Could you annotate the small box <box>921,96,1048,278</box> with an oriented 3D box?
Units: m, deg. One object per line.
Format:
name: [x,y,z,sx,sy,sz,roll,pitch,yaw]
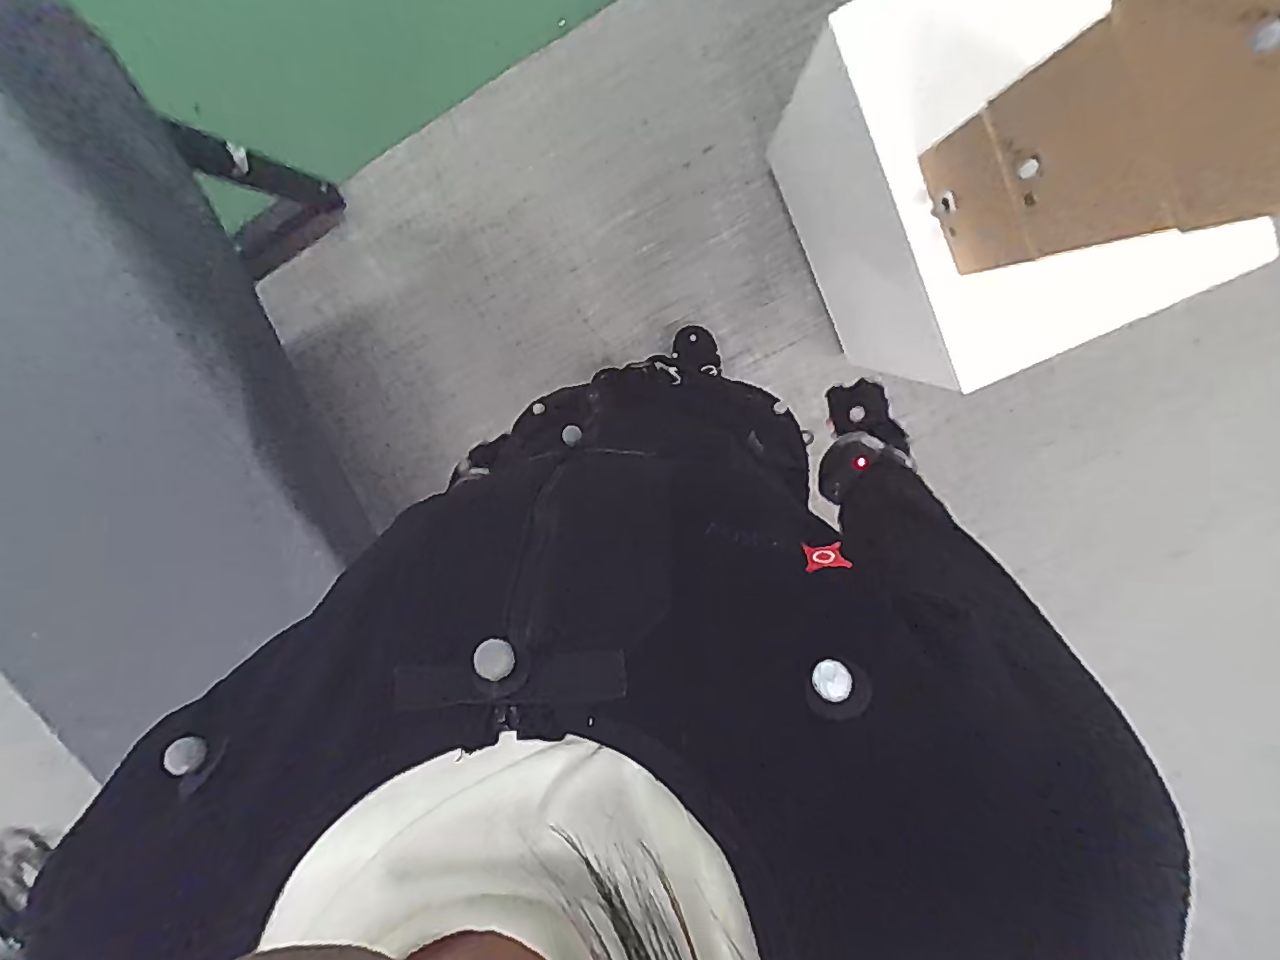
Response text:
small box: [0.453,-0.345,0.600,0.179,0.176,0.168,-26,101,13]

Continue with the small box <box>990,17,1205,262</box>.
small box: [0.440,-0.304,0.442,0.179,0.176,0.168,-28,101,11]
